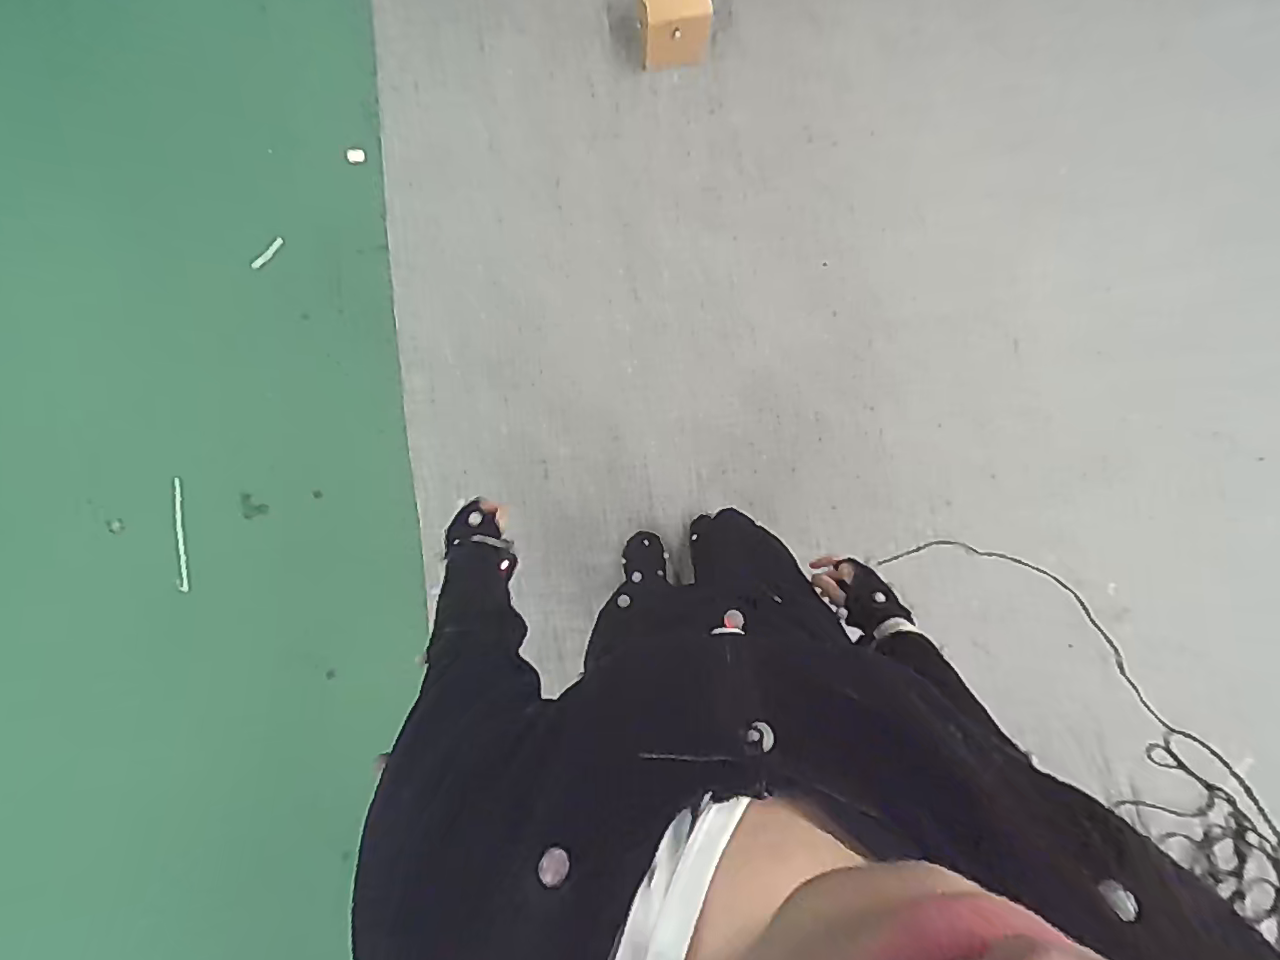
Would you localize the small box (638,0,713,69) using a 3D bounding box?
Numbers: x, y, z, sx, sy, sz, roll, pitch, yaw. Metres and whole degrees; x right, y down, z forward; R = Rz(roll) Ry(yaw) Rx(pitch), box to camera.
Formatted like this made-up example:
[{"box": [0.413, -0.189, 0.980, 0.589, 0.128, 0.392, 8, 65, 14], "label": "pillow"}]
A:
[{"box": [0.091, -1.276, 1.480, 0.179, 0.176, 0.168, -10, 89, 0], "label": "small box"}]
